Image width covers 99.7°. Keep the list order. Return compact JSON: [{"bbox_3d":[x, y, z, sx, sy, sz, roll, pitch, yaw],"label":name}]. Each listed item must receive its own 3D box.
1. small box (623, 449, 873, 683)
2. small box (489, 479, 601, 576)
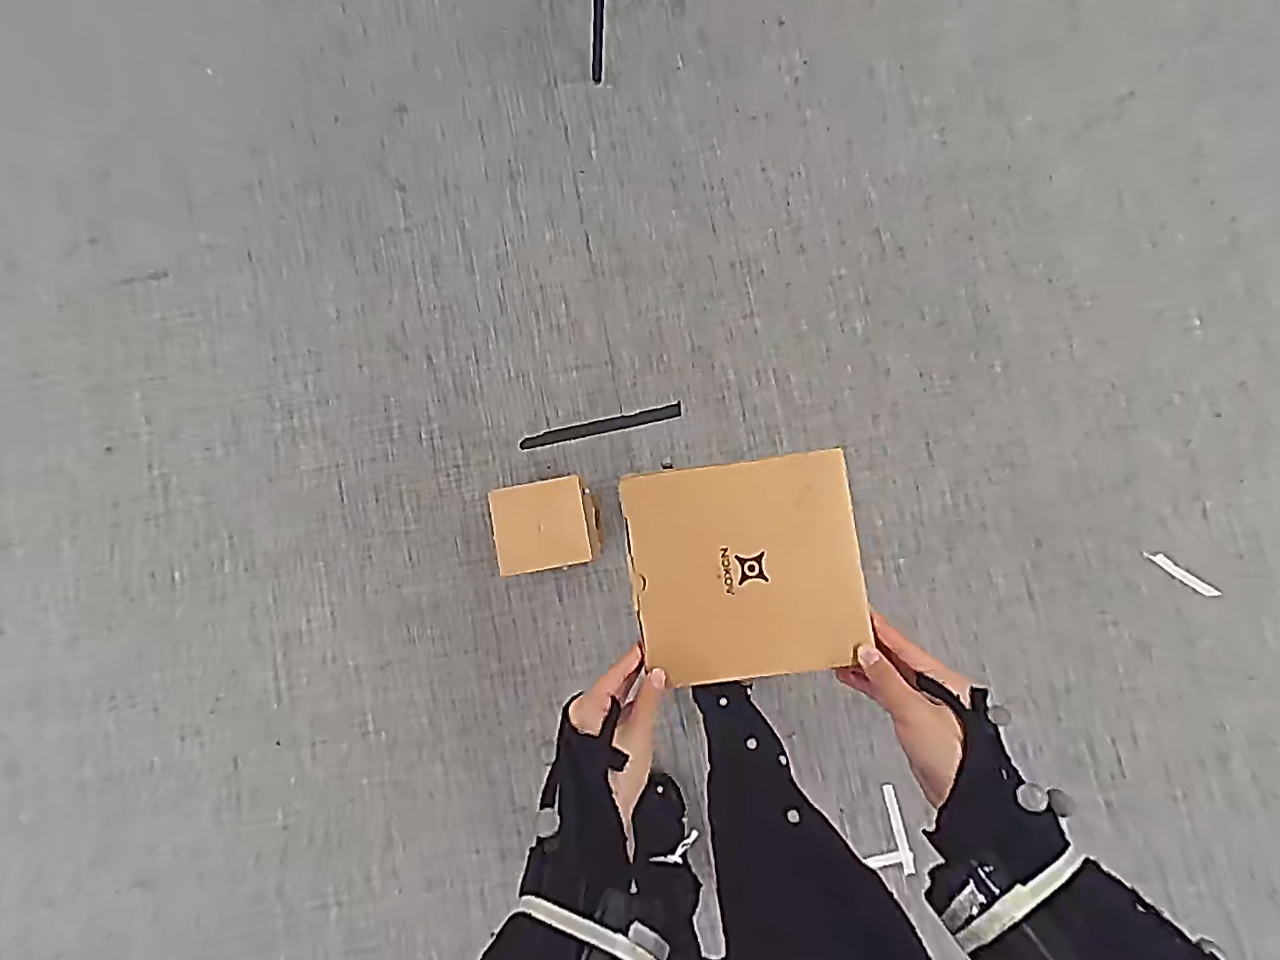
[{"bbox_3d":[0.084,0.068,0.495,0.179,0.176,0.168,-8,87,3],"label":"small box"},{"bbox_3d":[-0.185,0.095,1.089,0.179,0.176,0.168,-10,85,0],"label":"small box"}]
